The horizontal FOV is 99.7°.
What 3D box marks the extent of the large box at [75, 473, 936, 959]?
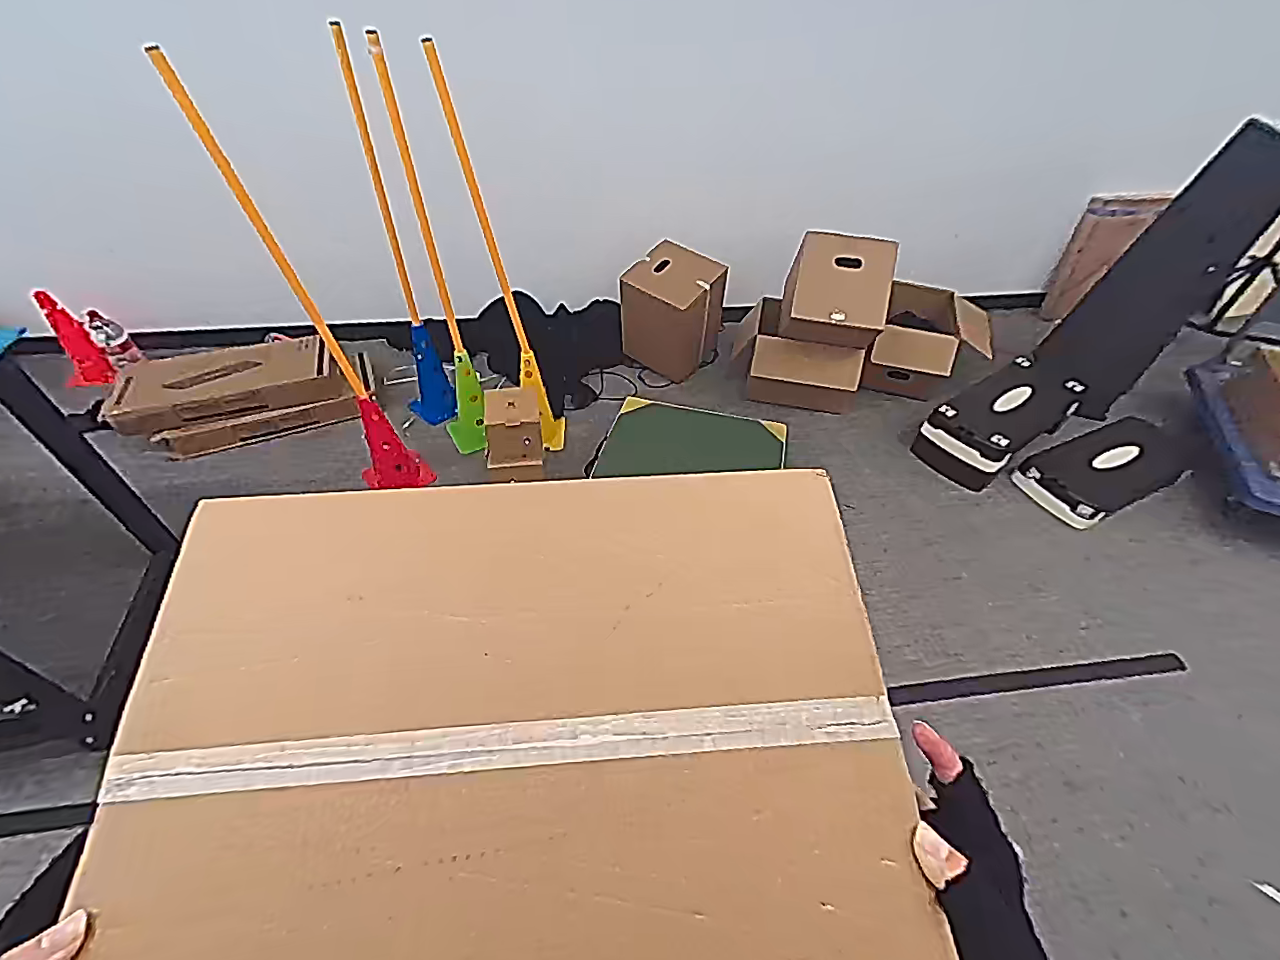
[{"bbox_3d":[-0.071,0.211,0.427,0.408,0.320,0.320,-3,63,-3],"label":"large box"}]
